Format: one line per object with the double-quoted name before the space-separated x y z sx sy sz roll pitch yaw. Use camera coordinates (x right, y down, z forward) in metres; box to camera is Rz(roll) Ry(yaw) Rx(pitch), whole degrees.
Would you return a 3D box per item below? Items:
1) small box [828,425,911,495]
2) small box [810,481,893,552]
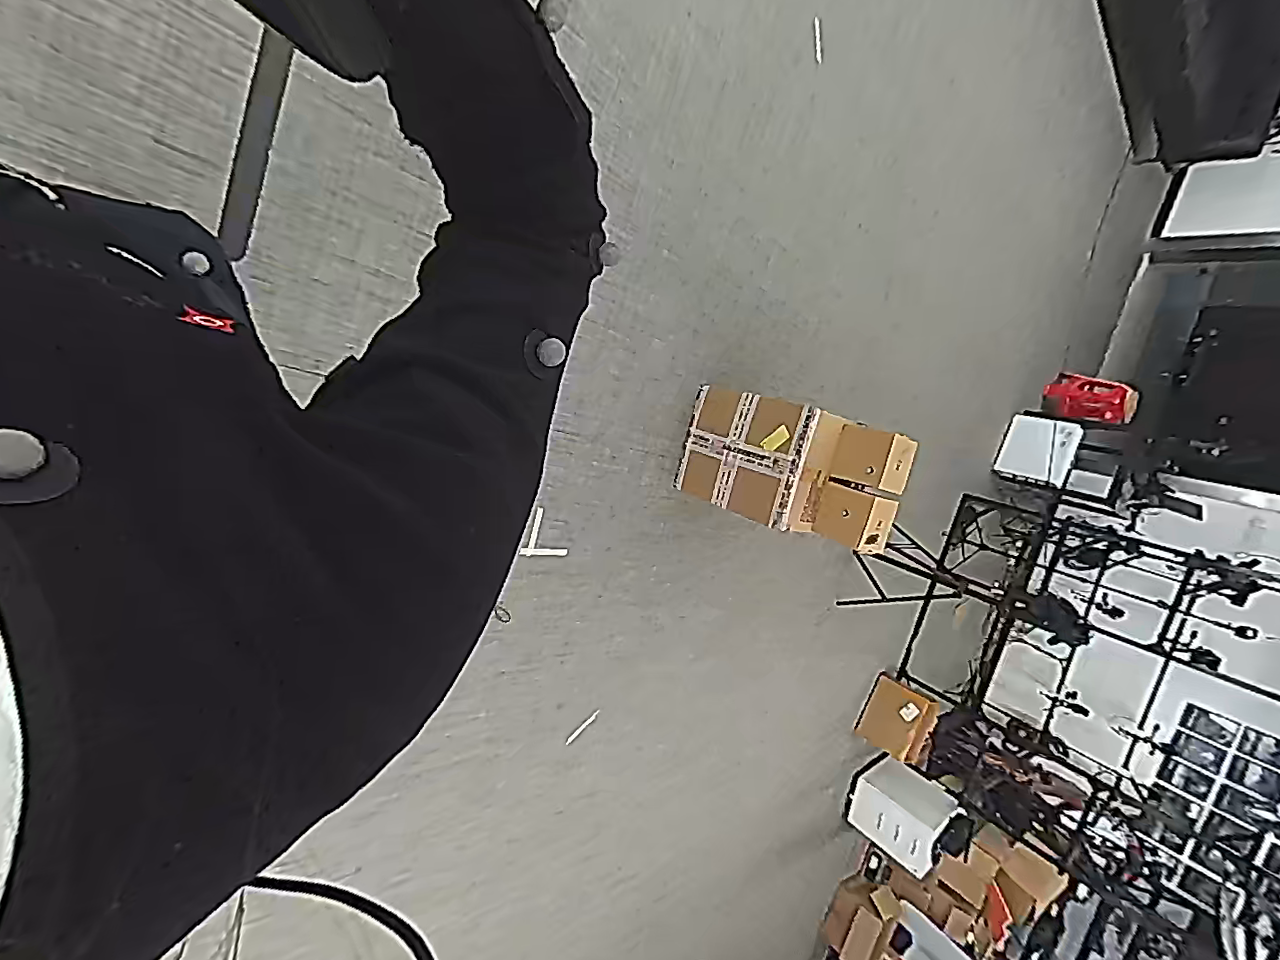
"small box" 0.724 -0.064 1.718 0.168 0.176 0.179 11 95 -42
"small box" 0.675 0.118 1.743 0.168 0.176 0.179 10 99 -41
